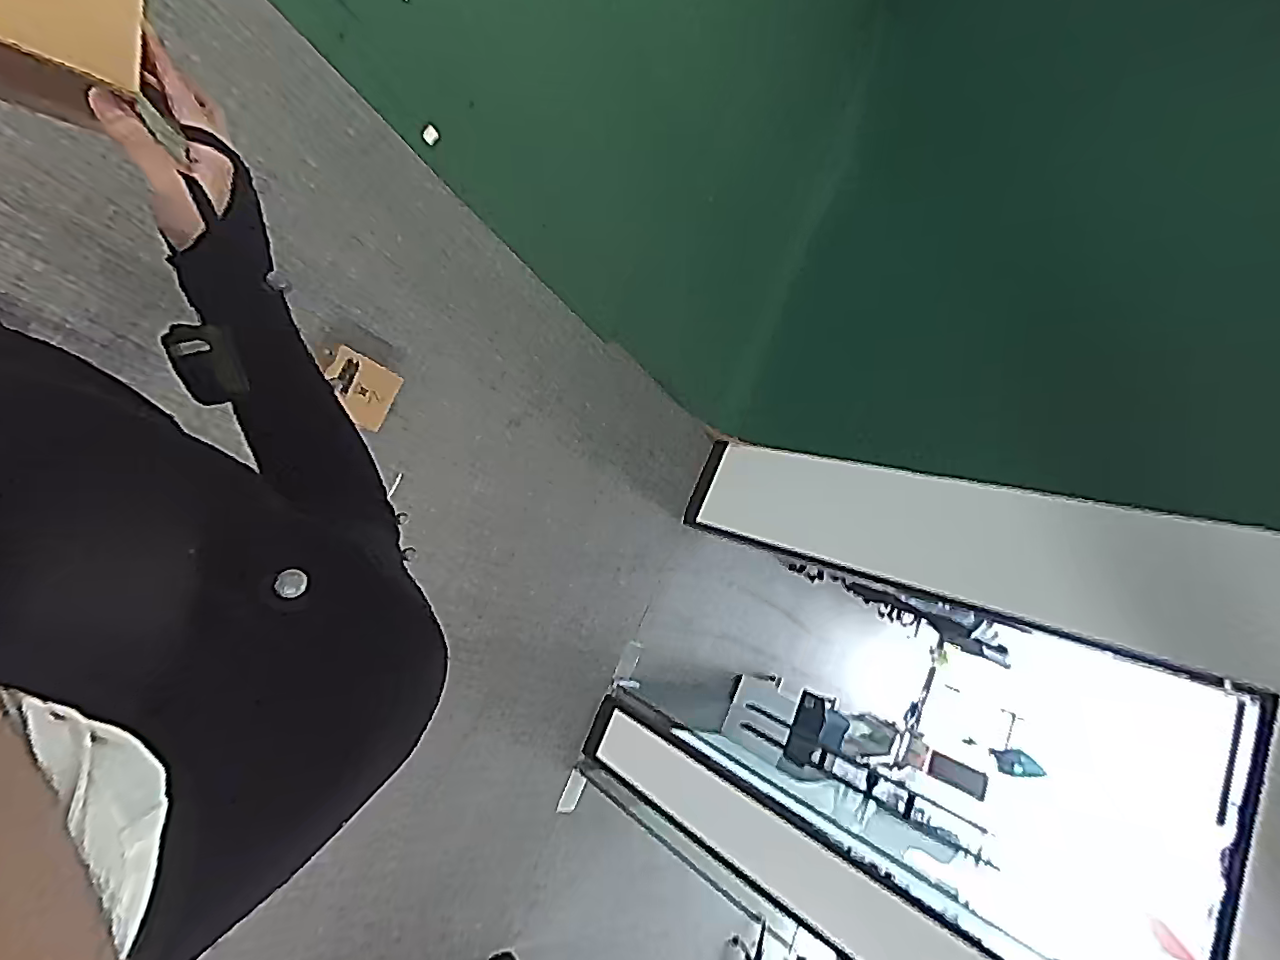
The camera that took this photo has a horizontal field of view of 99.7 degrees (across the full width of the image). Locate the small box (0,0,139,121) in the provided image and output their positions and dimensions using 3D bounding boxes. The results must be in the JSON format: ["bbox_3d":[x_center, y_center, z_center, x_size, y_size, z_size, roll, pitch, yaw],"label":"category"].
[{"bbox_3d":[-0.450,-0.368,0.354,0.179,0.176,0.168,2,103,-44],"label":"small box"}]
